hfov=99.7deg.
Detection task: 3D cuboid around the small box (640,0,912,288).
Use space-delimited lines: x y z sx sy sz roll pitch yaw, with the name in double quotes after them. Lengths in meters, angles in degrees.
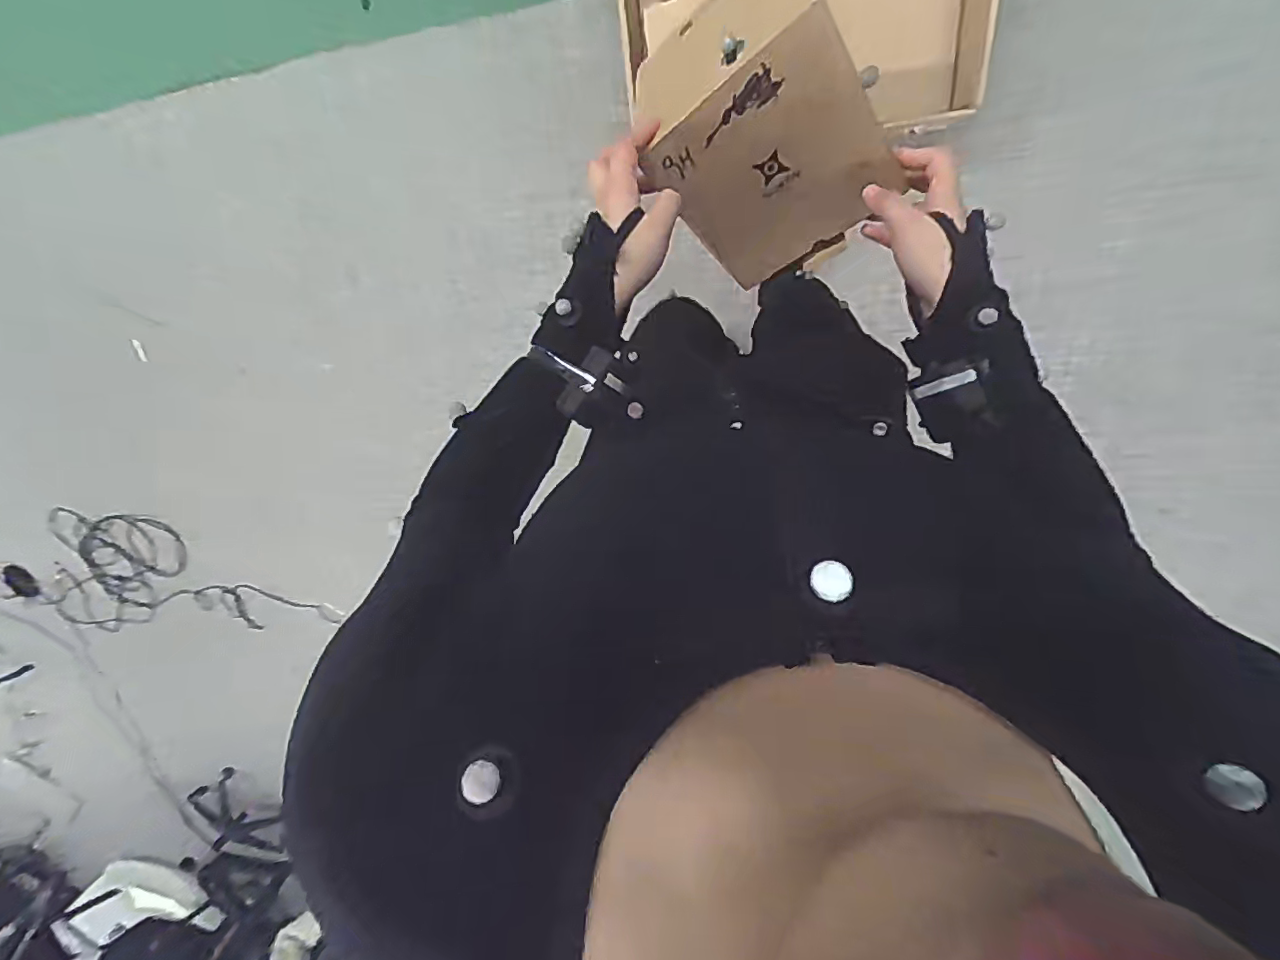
0.117 -0.322 0.489 0.168 0.176 0.179 -25 141 34 "small box"
